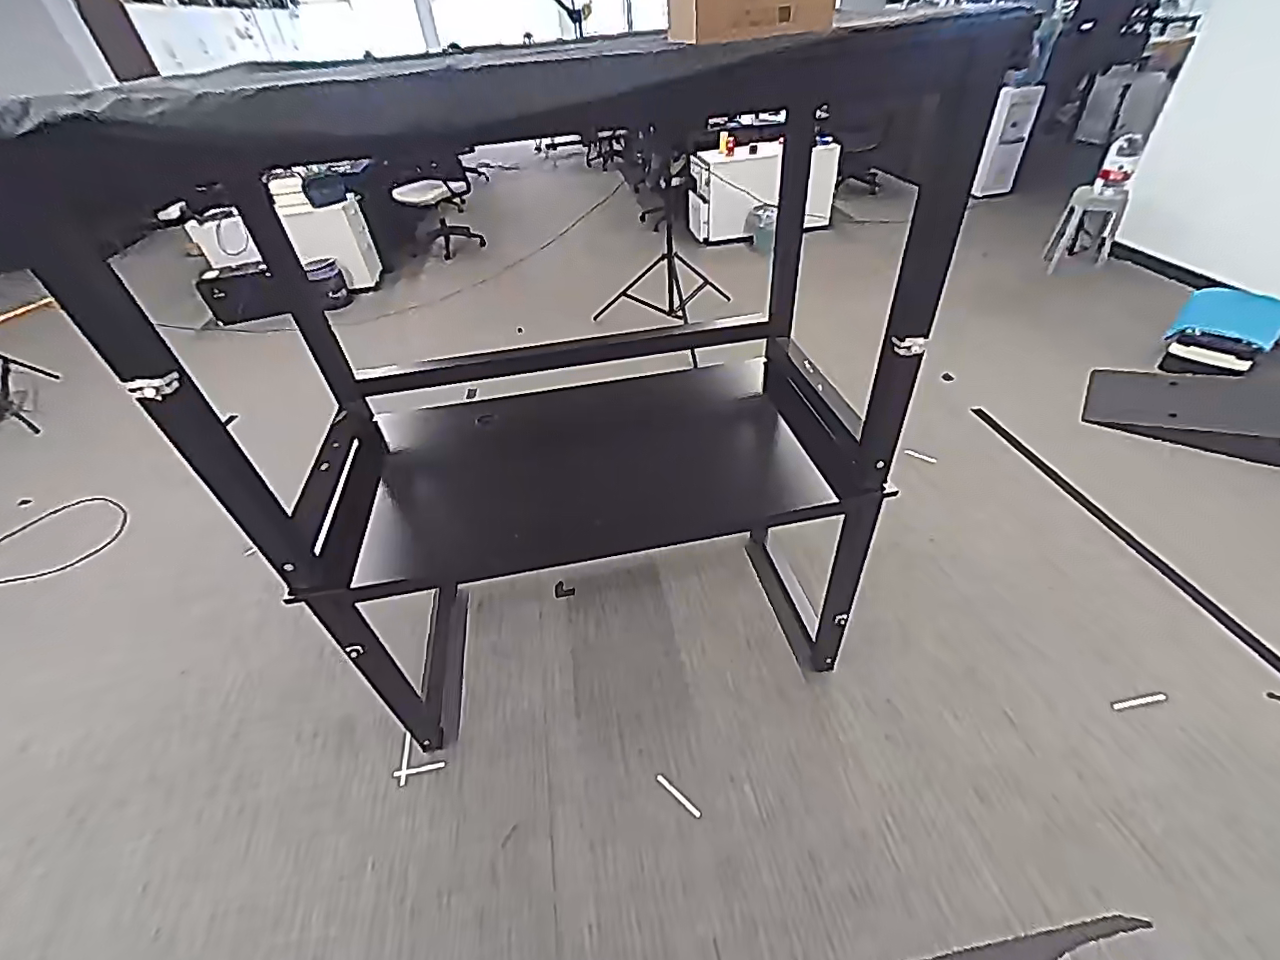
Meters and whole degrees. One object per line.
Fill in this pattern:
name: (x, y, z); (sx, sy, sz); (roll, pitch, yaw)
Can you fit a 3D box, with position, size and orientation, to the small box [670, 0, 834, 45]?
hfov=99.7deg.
small box: (0.126, -0.628, 0.639); (0.168, 0.176, 0.179); (-10, 40, -3)
